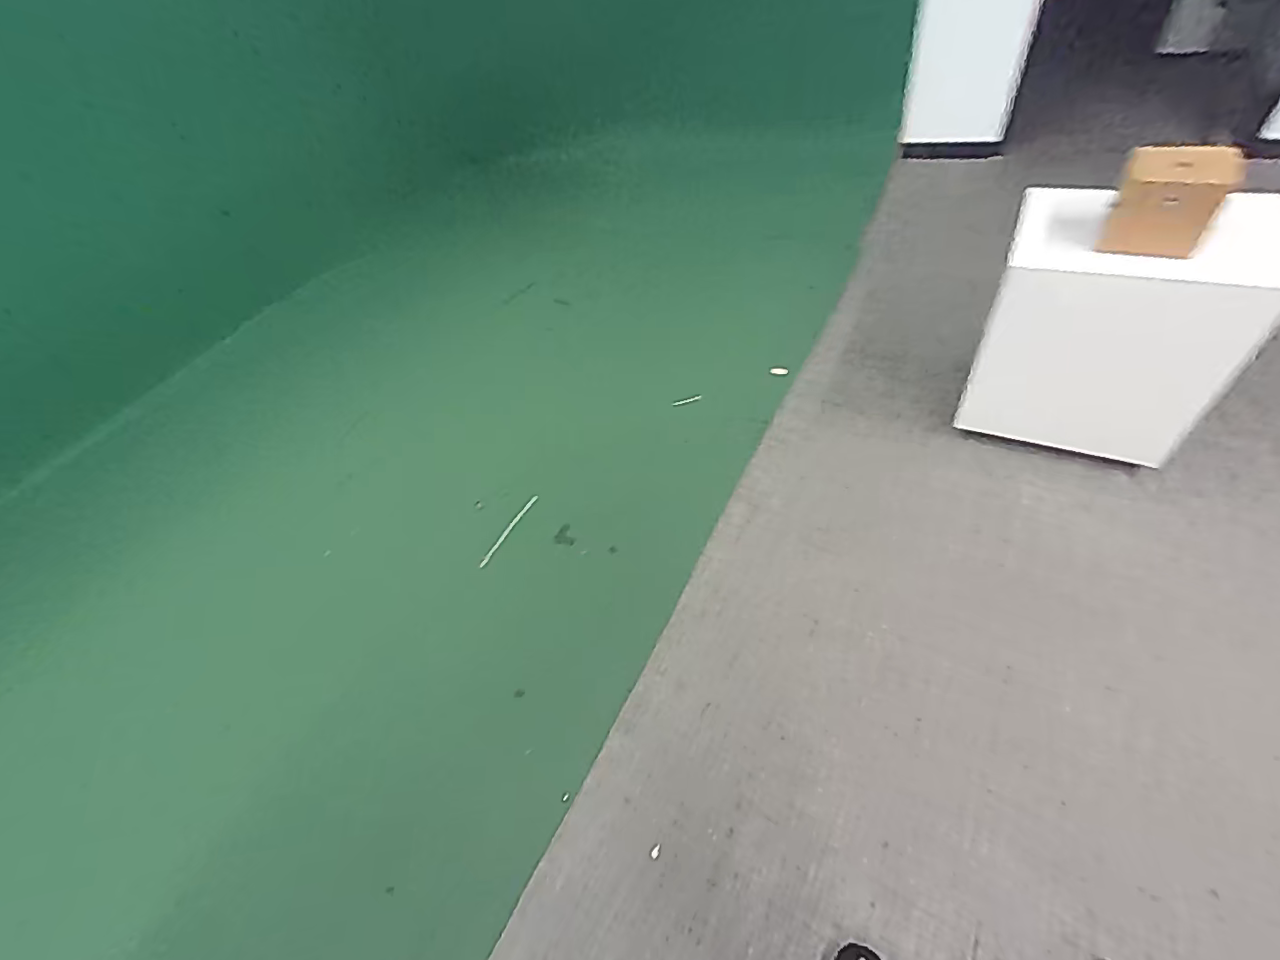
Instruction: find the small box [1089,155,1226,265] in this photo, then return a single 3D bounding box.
[{"bbox_3d":[1.157,-0.607,1.220,0.179,0.176,0.168,18,58,26],"label":"small box"}]
